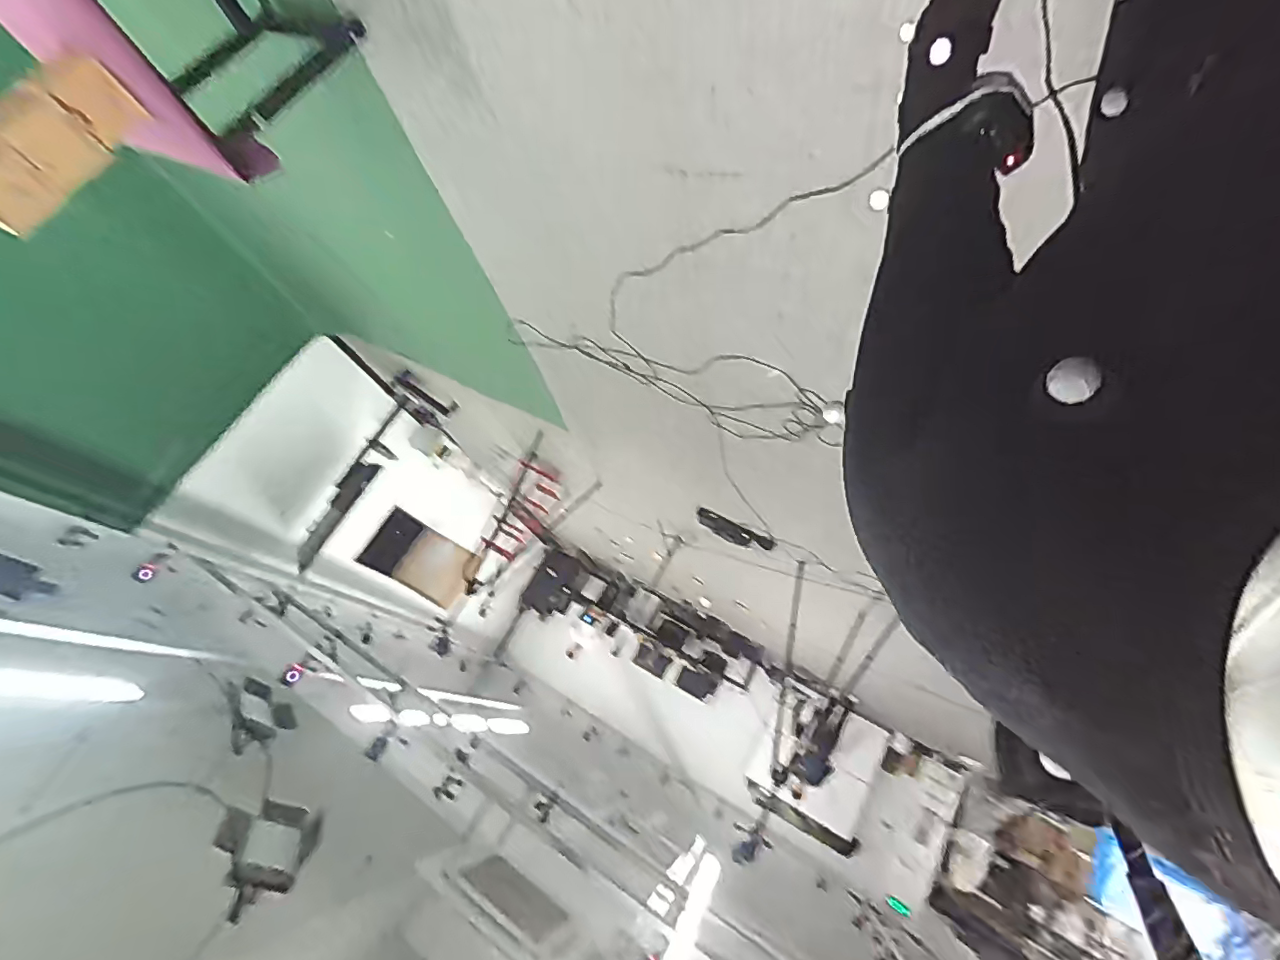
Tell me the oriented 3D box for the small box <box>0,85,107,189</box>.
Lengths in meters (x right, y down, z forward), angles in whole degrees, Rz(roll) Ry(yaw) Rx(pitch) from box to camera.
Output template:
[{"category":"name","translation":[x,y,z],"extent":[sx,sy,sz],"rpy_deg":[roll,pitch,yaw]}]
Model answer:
[{"category":"small box","translation":[-1.629,-0.937,1.474],"extent":[0.179,0.176,0.168],"rpy_deg":[25,161,18]}]

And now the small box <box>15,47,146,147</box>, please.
[{"category":"small box","translation":[-1.564,-1.081,1.521],"extent":[0.179,0.176,0.168],"rpy_deg":[23,160,22]}]

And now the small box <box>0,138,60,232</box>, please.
[{"category":"small box","translation":[-1.712,-0.804,1.424],"extent":[0.179,0.176,0.168],"rpy_deg":[29,161,1]}]
